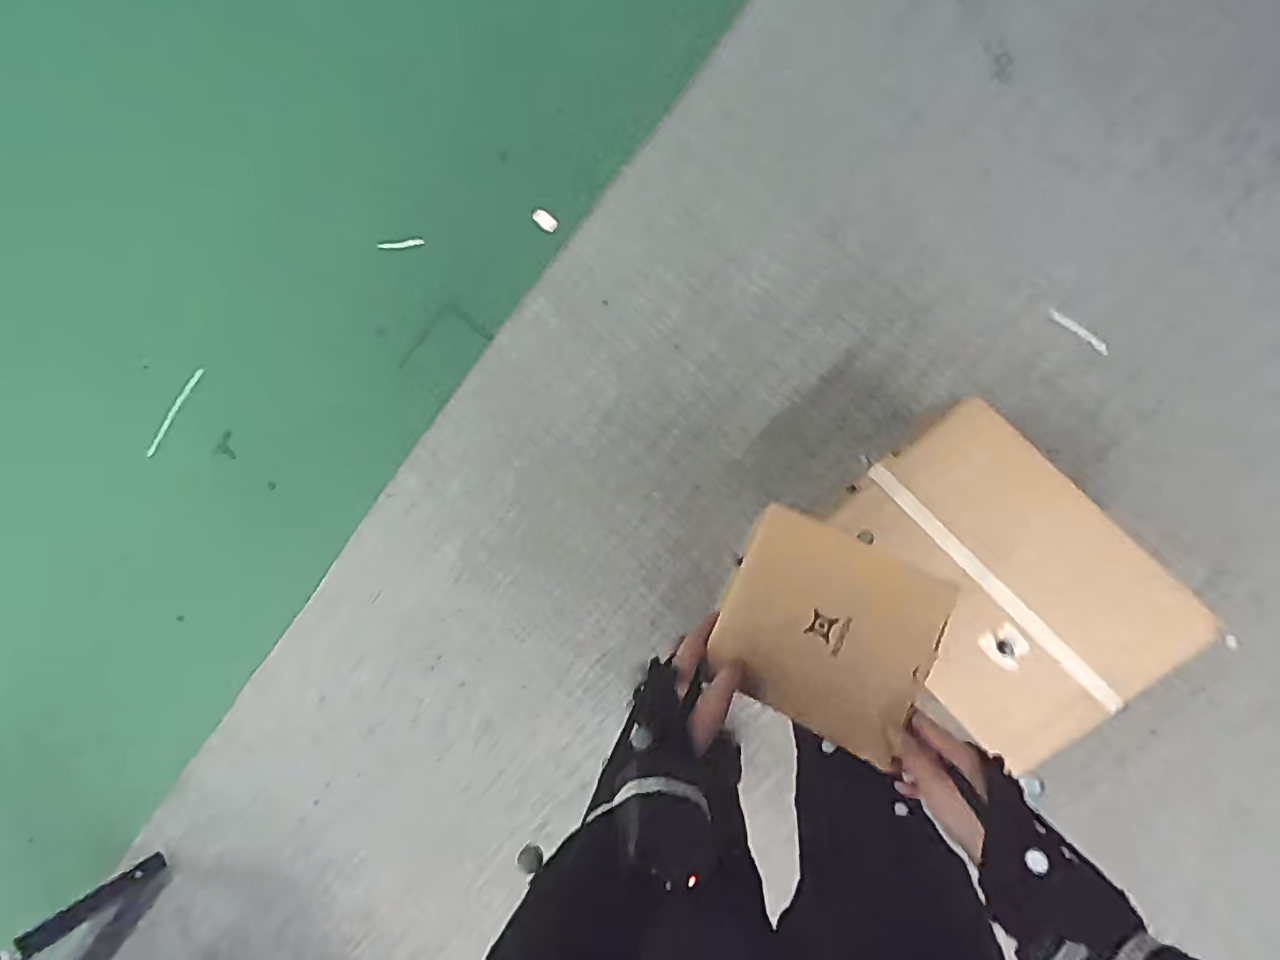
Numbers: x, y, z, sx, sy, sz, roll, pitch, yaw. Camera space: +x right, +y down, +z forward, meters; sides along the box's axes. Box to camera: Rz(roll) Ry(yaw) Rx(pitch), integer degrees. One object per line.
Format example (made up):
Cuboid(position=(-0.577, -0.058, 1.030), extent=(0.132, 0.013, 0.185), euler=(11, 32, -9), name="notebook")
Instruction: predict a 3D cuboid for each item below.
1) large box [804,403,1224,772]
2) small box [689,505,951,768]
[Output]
Cuboid(position=(0.503, 0.137, 0.854), extent=(0.320, 0.320, 0.408), euler=(-44, 81, 12), name="large box")
Cuboid(position=(0.161, 0.144, 0.540), extent=(0.179, 0.176, 0.168), euler=(24, 83, 10), name="small box")
